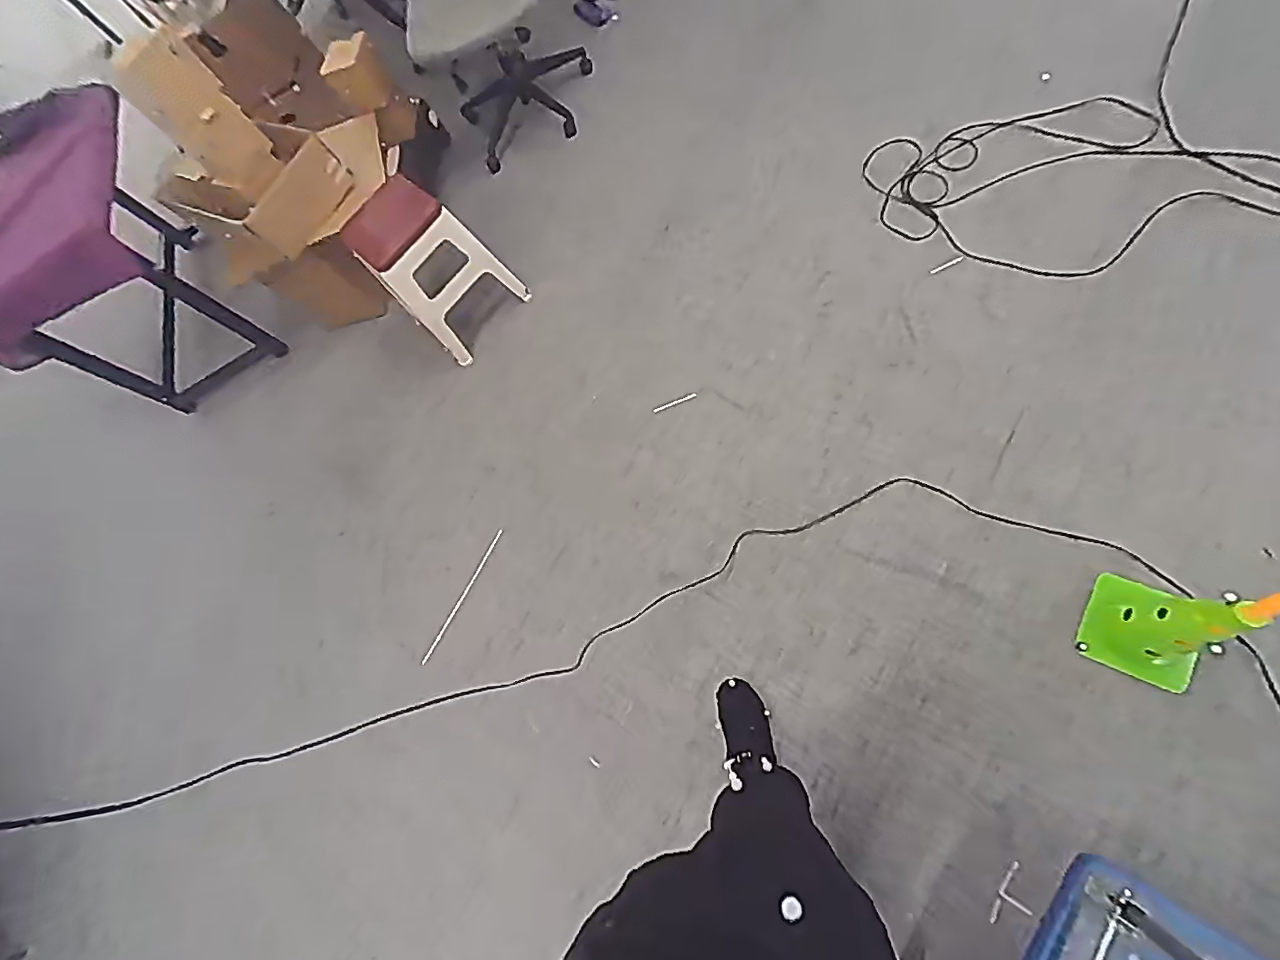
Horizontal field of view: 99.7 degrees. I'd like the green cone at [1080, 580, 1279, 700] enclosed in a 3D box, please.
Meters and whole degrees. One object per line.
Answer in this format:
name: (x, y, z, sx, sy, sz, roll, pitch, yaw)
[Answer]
green cone: (1.031, 0.278, 1.002, 0.200, 0.368, 0.202, 22, 78, 24)
